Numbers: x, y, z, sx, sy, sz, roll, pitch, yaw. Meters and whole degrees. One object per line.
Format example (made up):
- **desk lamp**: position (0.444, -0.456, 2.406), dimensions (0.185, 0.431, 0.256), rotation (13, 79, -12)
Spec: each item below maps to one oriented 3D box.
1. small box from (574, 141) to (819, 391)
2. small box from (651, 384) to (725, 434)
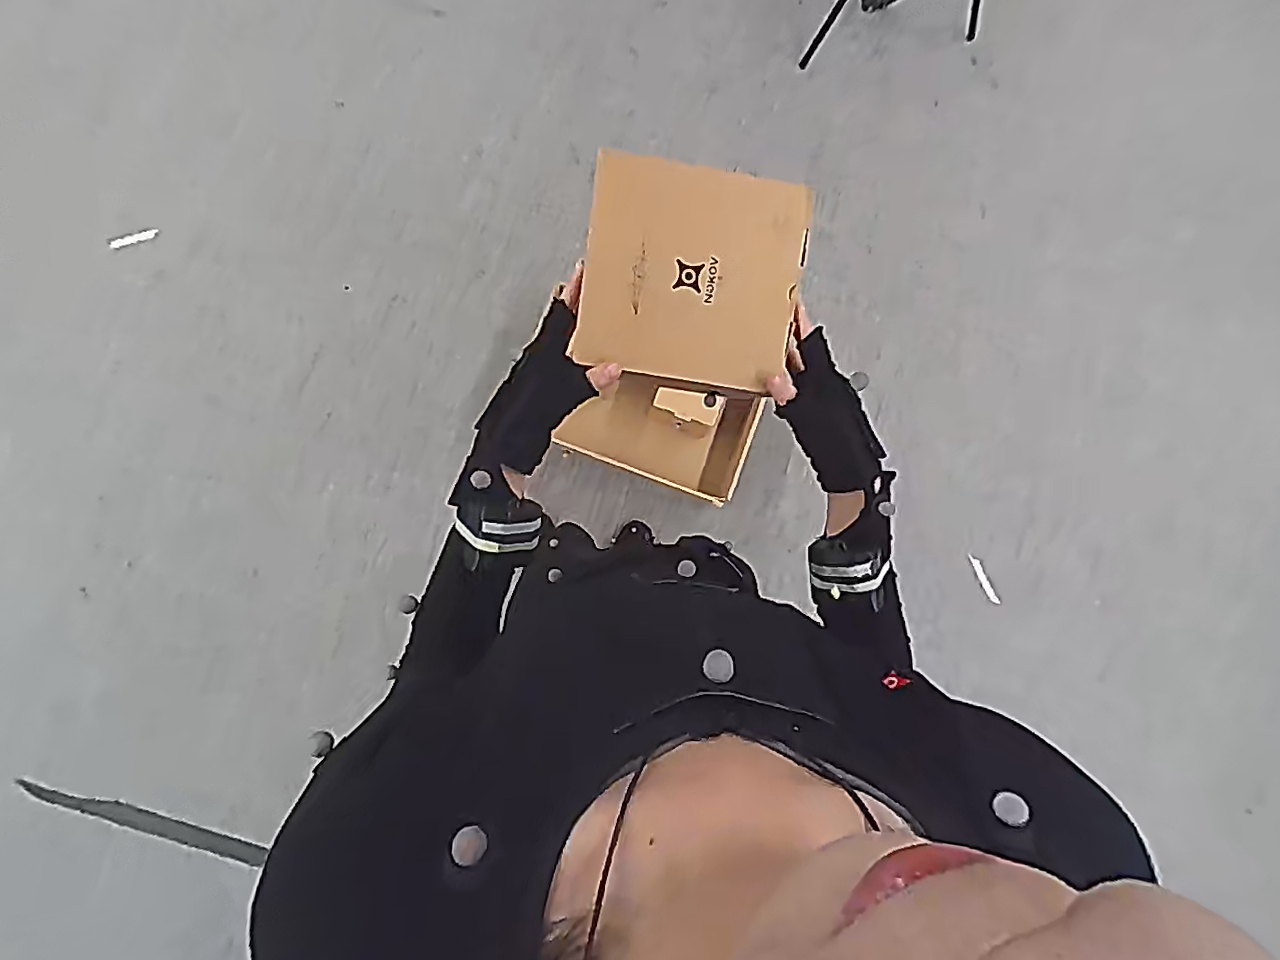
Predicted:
- **small box**: position (0.039, -0.175, 0.500), dimensions (0.179, 0.176, 0.168), rotation (7, 96, -4)
- **small box**: position (0.135, -0.237, 1.441), dimensions (0.168, 0.176, 0.179), rotation (22, 85, 1)
